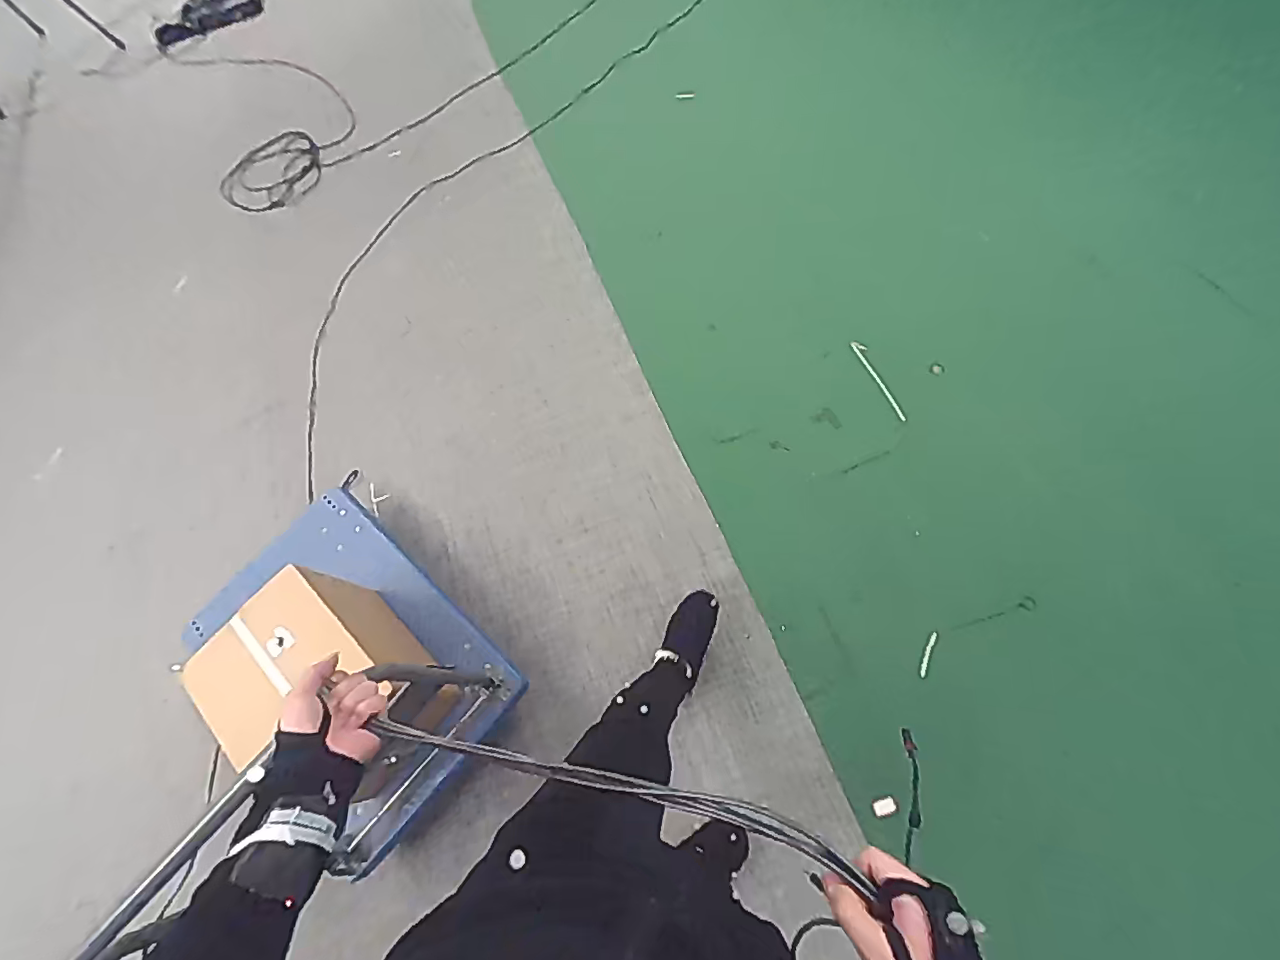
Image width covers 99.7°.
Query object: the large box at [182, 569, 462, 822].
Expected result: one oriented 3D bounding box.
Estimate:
[{"bbox_3d":[-0.695,0.472,1.228,0.408,0.320,0.320,37,77,23],"label":"large box"}]
